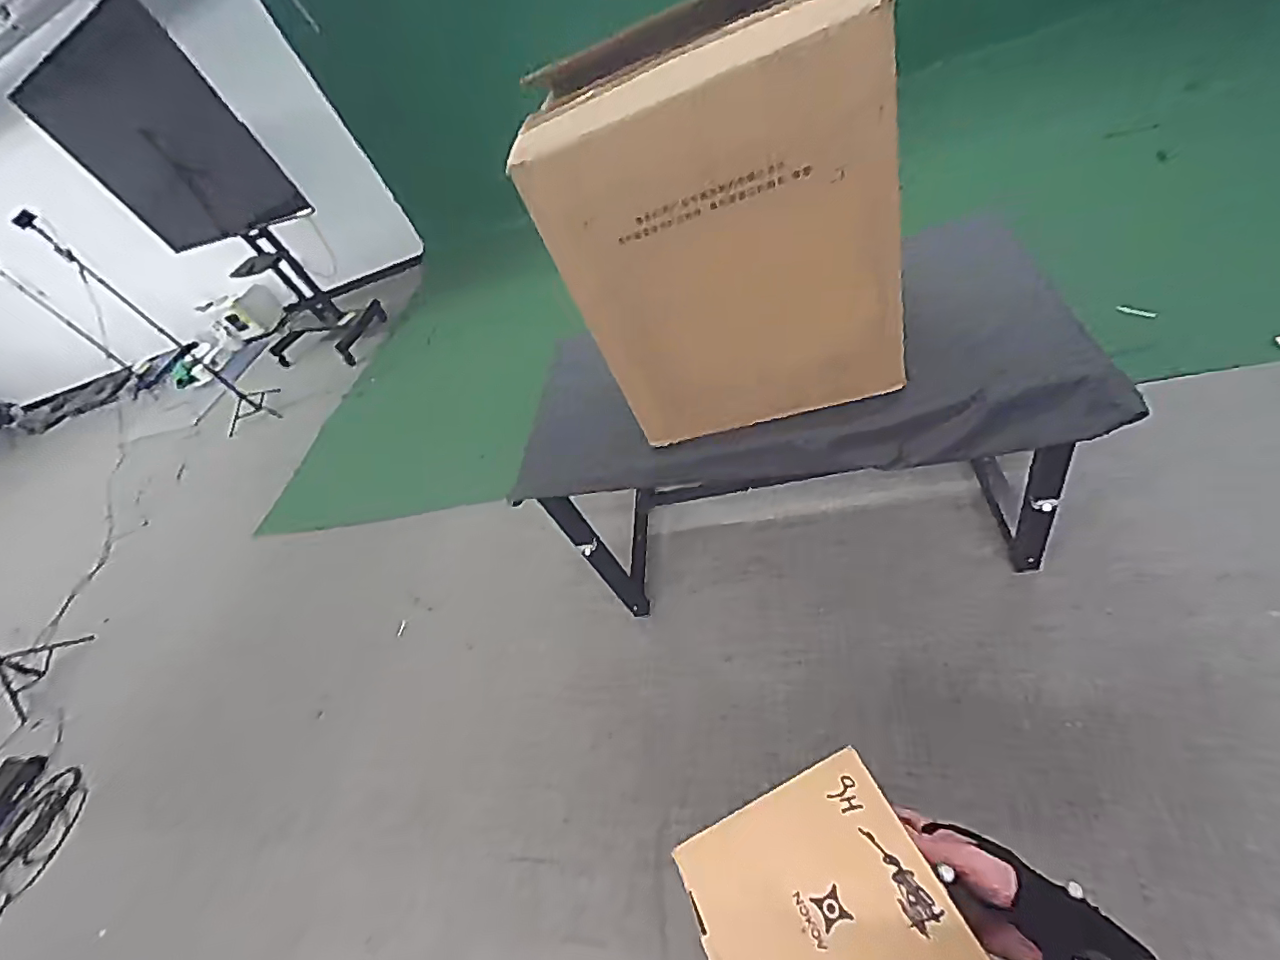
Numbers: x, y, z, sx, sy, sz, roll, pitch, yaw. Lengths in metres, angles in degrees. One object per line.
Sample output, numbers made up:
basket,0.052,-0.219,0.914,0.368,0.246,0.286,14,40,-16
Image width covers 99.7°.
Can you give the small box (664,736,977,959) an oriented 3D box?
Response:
small box,0.149,0.350,0.471,0.179,0.176,0.168,-30,56,2
